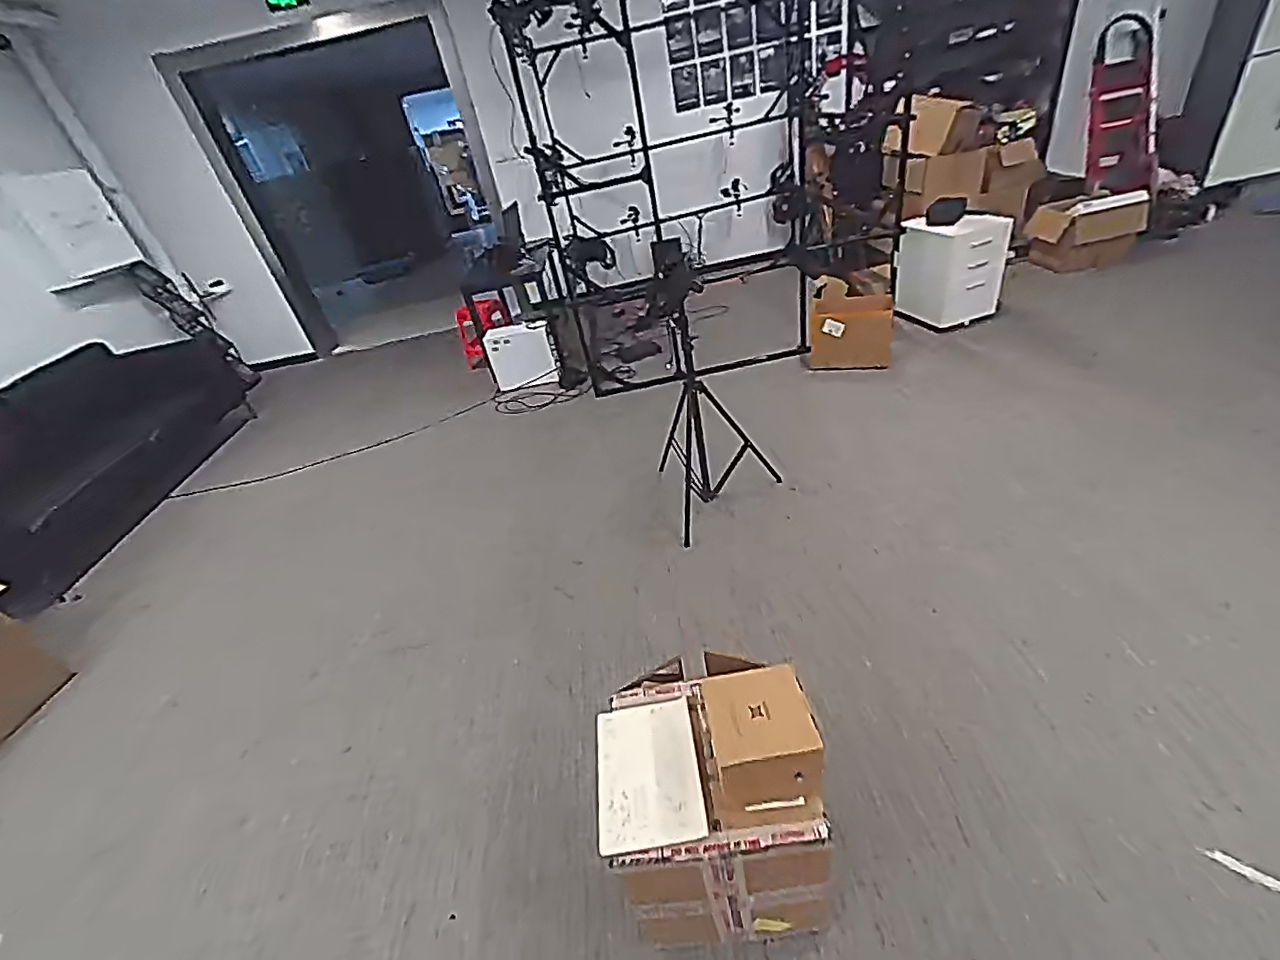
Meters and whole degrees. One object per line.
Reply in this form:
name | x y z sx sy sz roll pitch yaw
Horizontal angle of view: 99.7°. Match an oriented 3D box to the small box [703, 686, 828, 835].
small box | 0.218 0.502 0.969 0.179 0.176 0.168 -11 35 0
